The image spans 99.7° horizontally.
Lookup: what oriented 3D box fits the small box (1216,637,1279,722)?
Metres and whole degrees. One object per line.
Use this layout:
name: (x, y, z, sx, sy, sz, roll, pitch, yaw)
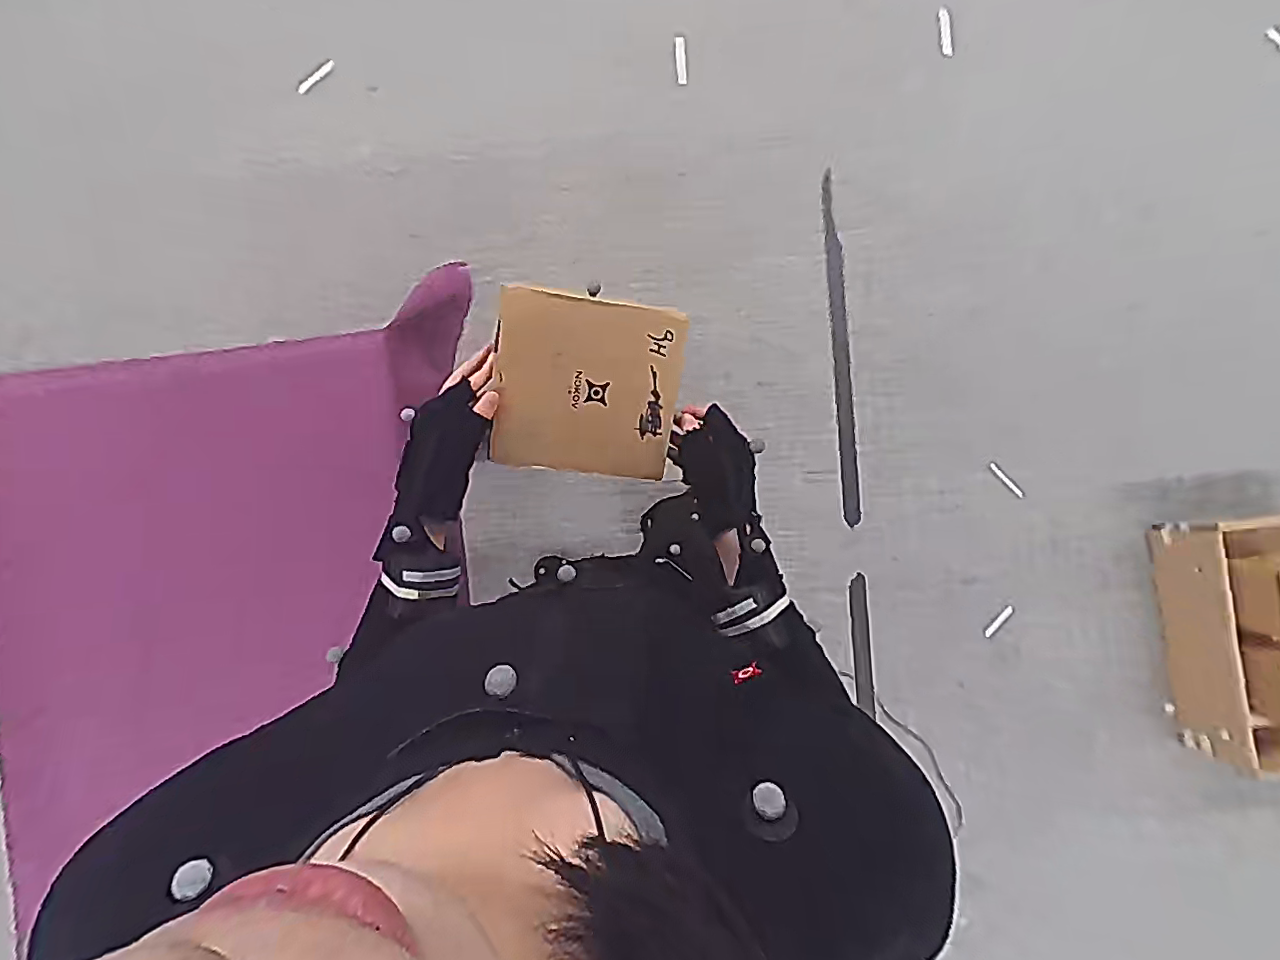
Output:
small box: (1.641, 0.509, 1.373, 0.168, 0.176, 0.179, -6, 84, -1)
